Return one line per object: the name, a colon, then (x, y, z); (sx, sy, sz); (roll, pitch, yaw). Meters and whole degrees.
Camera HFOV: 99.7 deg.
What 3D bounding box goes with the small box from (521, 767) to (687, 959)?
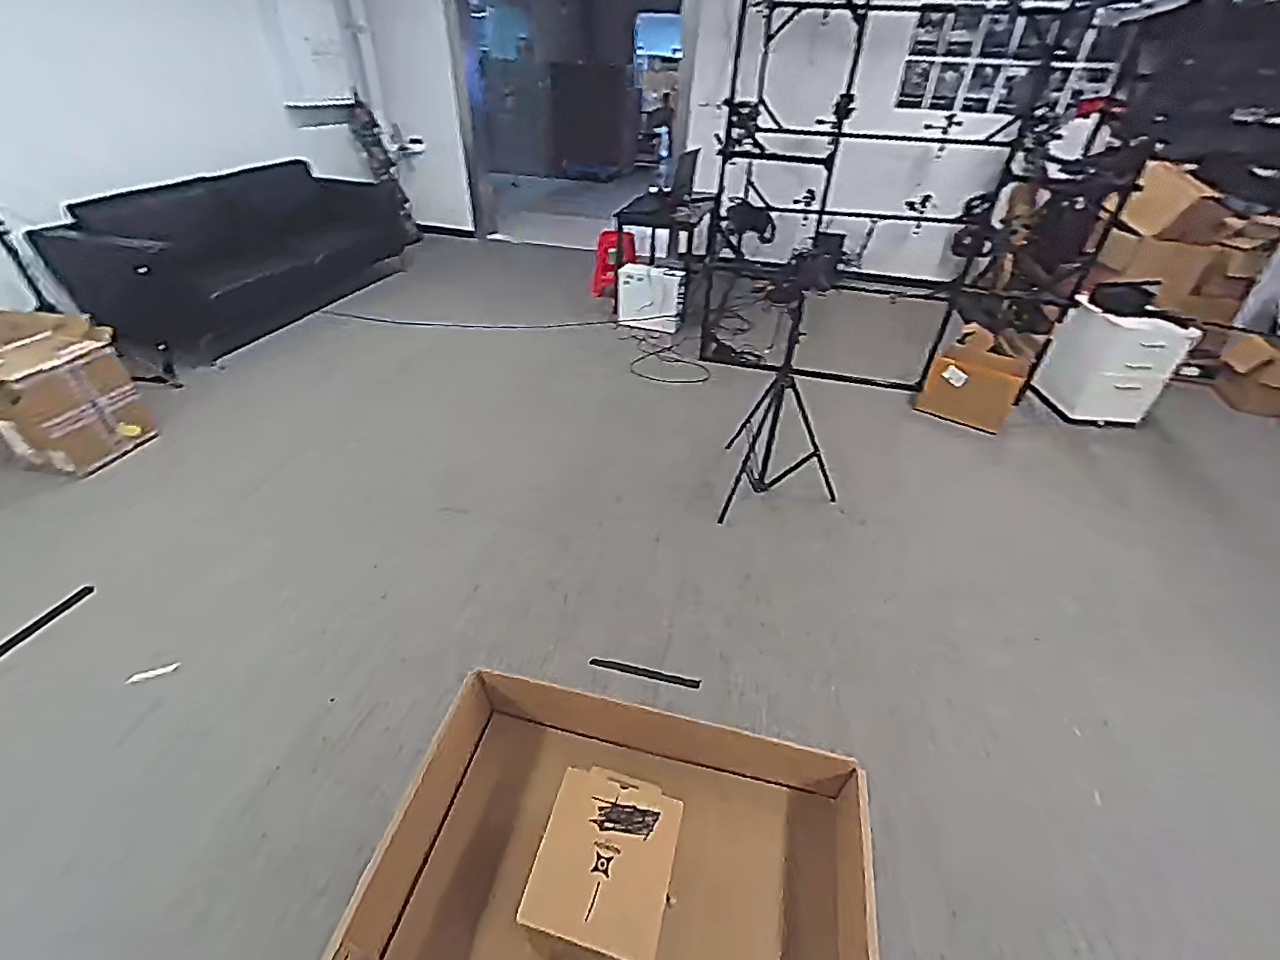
small box: (-0.040, 0.522, 0.716); (0.168, 0.176, 0.179); (11, 43, 10)
